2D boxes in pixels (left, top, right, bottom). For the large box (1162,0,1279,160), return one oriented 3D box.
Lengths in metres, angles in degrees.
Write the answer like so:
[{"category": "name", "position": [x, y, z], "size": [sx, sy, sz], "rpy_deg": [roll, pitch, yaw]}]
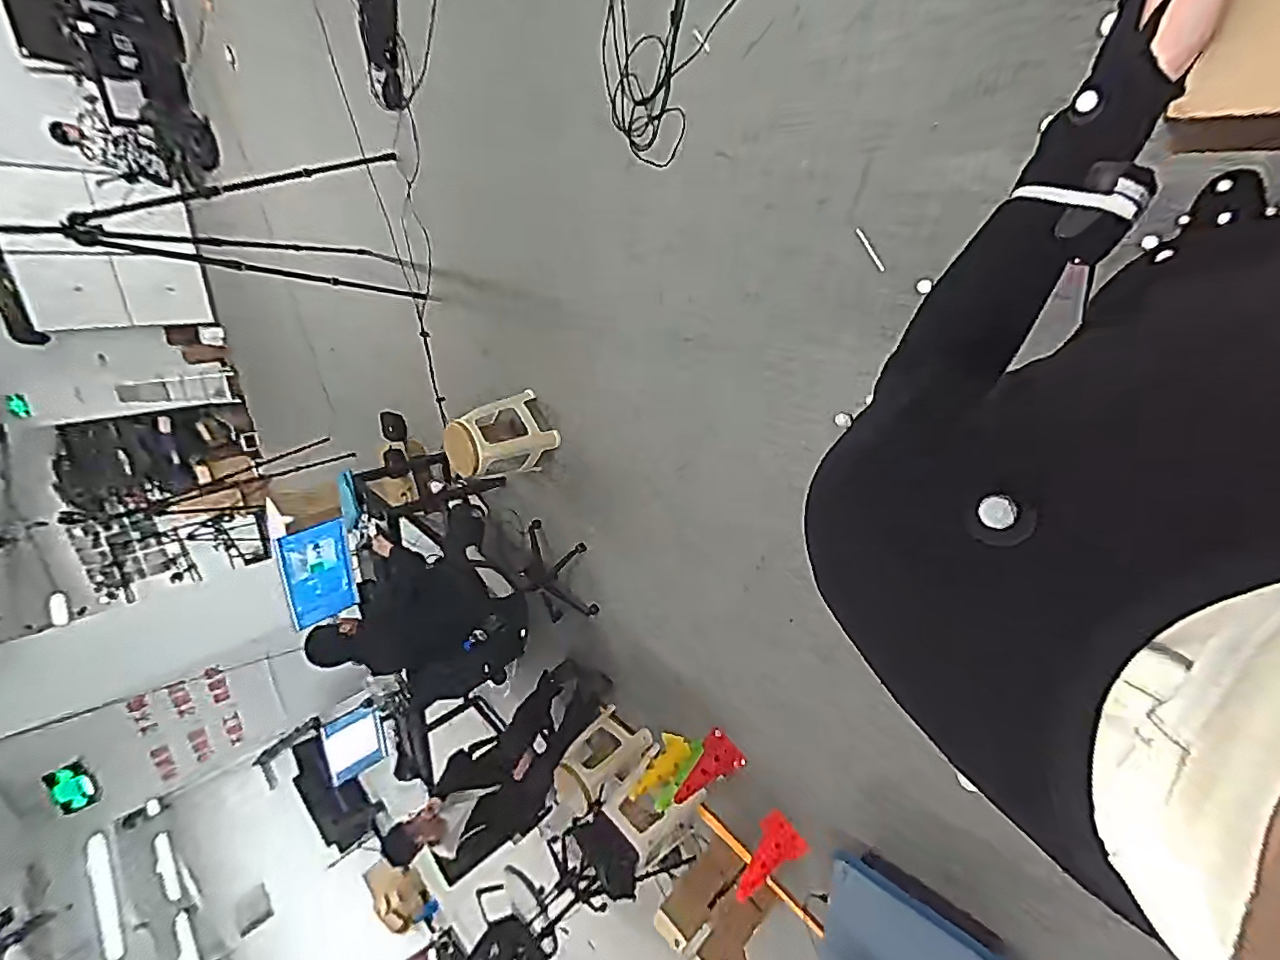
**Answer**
[{"category": "large box", "position": [0.649, -0.409, 0.339], "size": [0.408, 0.320, 0.320], "rpy_deg": [21, 122, 36]}]
